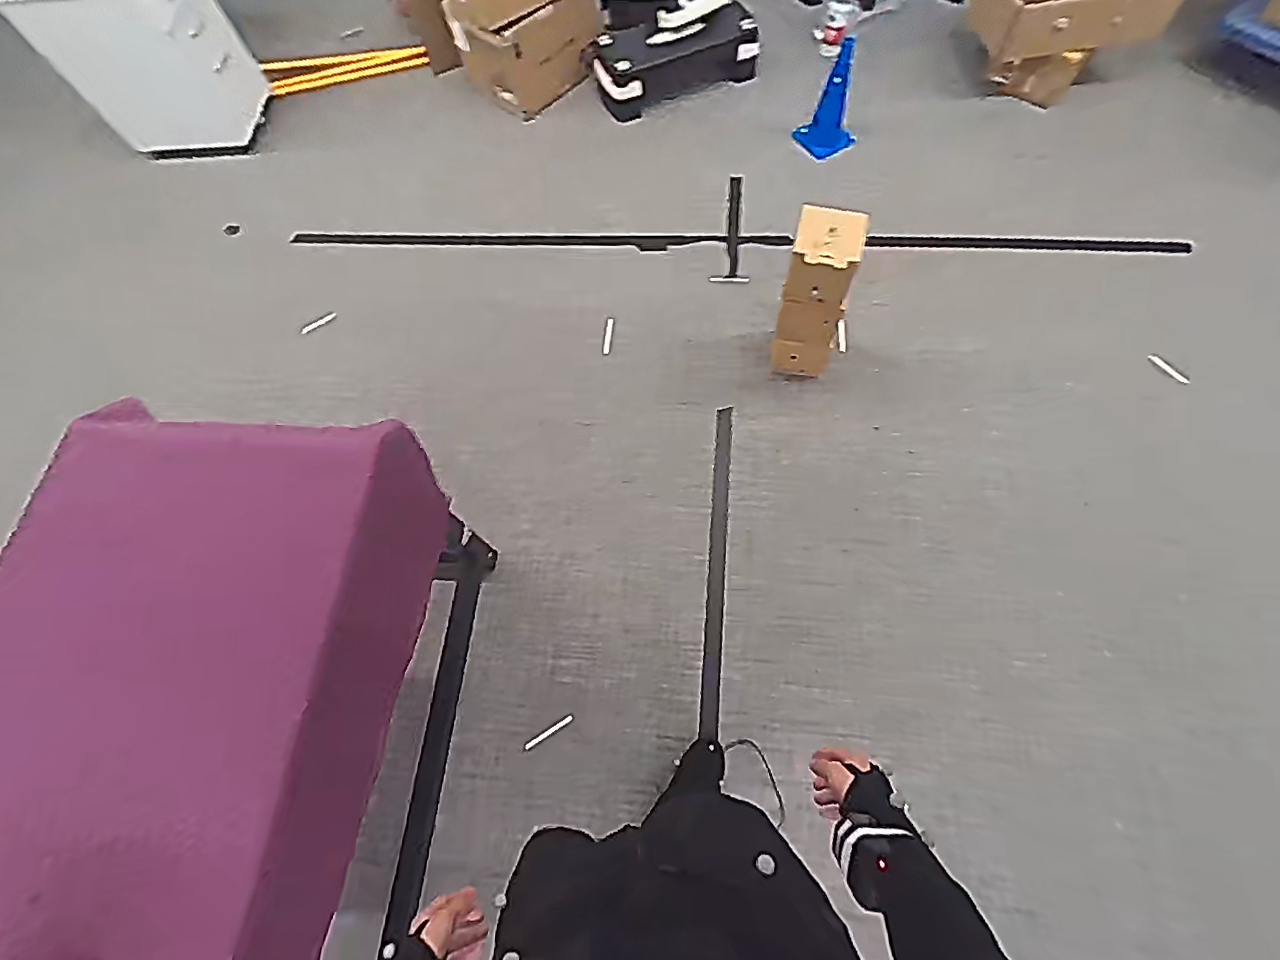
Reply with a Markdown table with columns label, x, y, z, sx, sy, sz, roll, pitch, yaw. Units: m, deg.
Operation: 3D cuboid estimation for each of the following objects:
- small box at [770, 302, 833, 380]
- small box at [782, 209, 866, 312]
| label | x | y | z | sx | sy | sz | roll | pitch | yaw |
| --- | --- | --- | --- | --- | --- | --- | --- | --- | --- |
| small box | 0.519 | -0.446 | 1.752 | 0.168 | 0.176 | 0.179 | 7 | 67 | 6 |
| small box | 0.490 | -0.588 | 1.455 | 0.168 | 0.176 | 0.179 | 14 | 69 | 9 |
